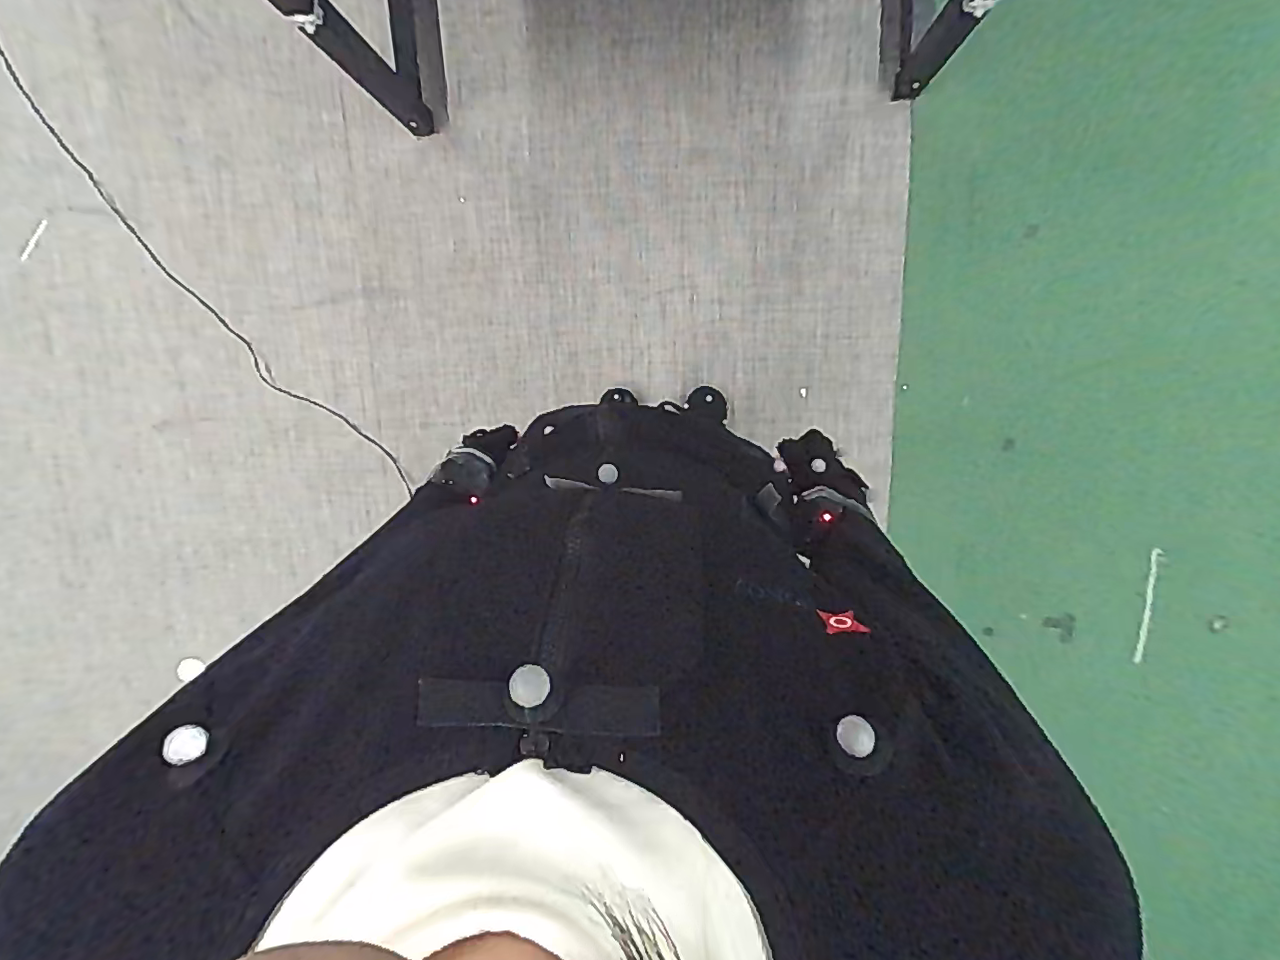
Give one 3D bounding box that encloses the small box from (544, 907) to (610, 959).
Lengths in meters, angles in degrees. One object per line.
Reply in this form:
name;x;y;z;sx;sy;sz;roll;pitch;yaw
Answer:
small box;-0.183;1.409;1.601;0.179;0.176;0.168;-3;102;5
